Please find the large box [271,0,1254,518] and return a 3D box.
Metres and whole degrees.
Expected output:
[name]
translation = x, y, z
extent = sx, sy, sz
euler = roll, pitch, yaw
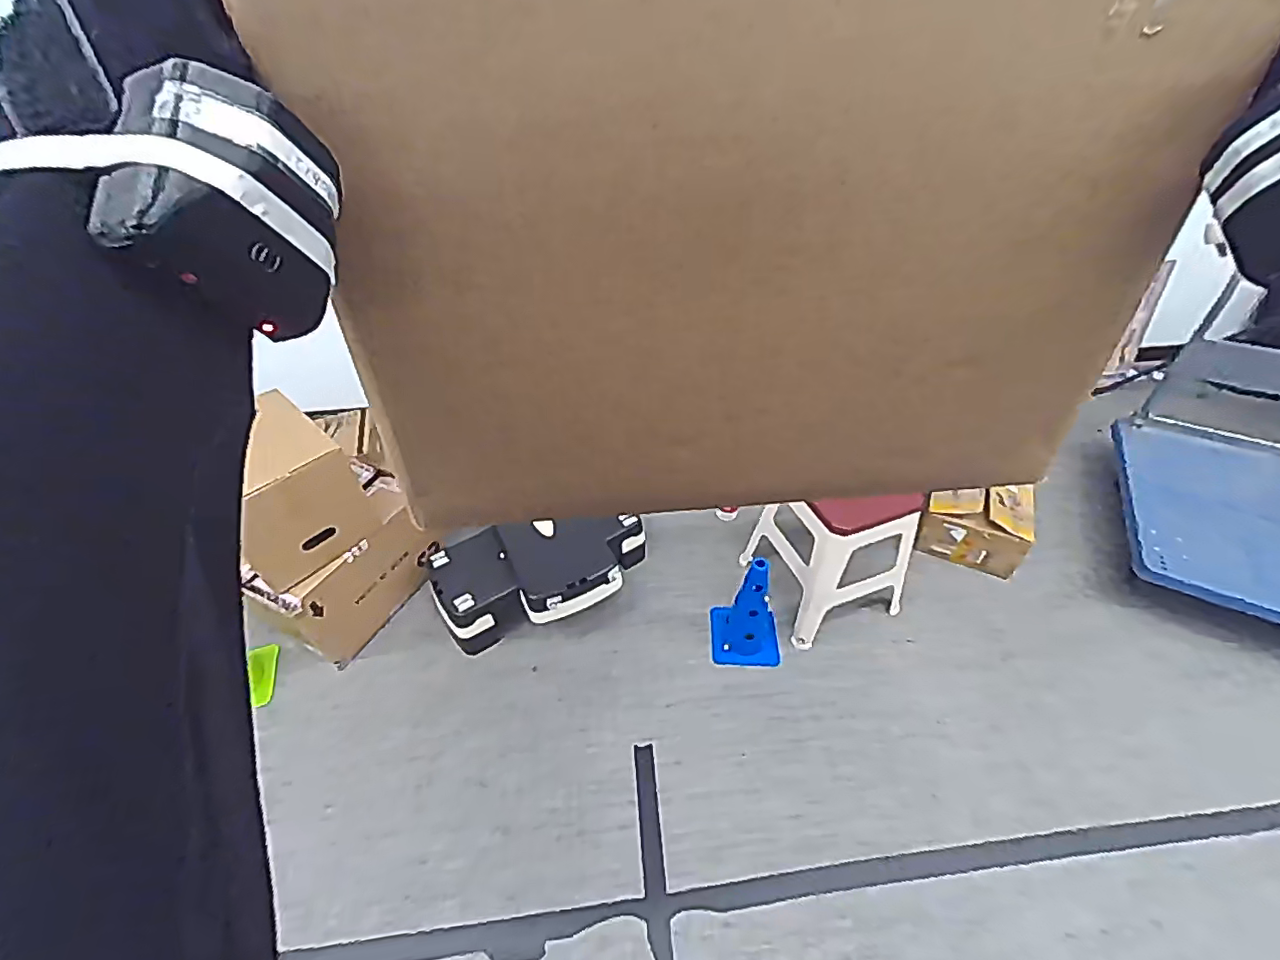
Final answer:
[large box]
translation = 0.045, -0.196, 0.380
extent = 0.408, 0.320, 0.320
euler = -4, 37, -5
